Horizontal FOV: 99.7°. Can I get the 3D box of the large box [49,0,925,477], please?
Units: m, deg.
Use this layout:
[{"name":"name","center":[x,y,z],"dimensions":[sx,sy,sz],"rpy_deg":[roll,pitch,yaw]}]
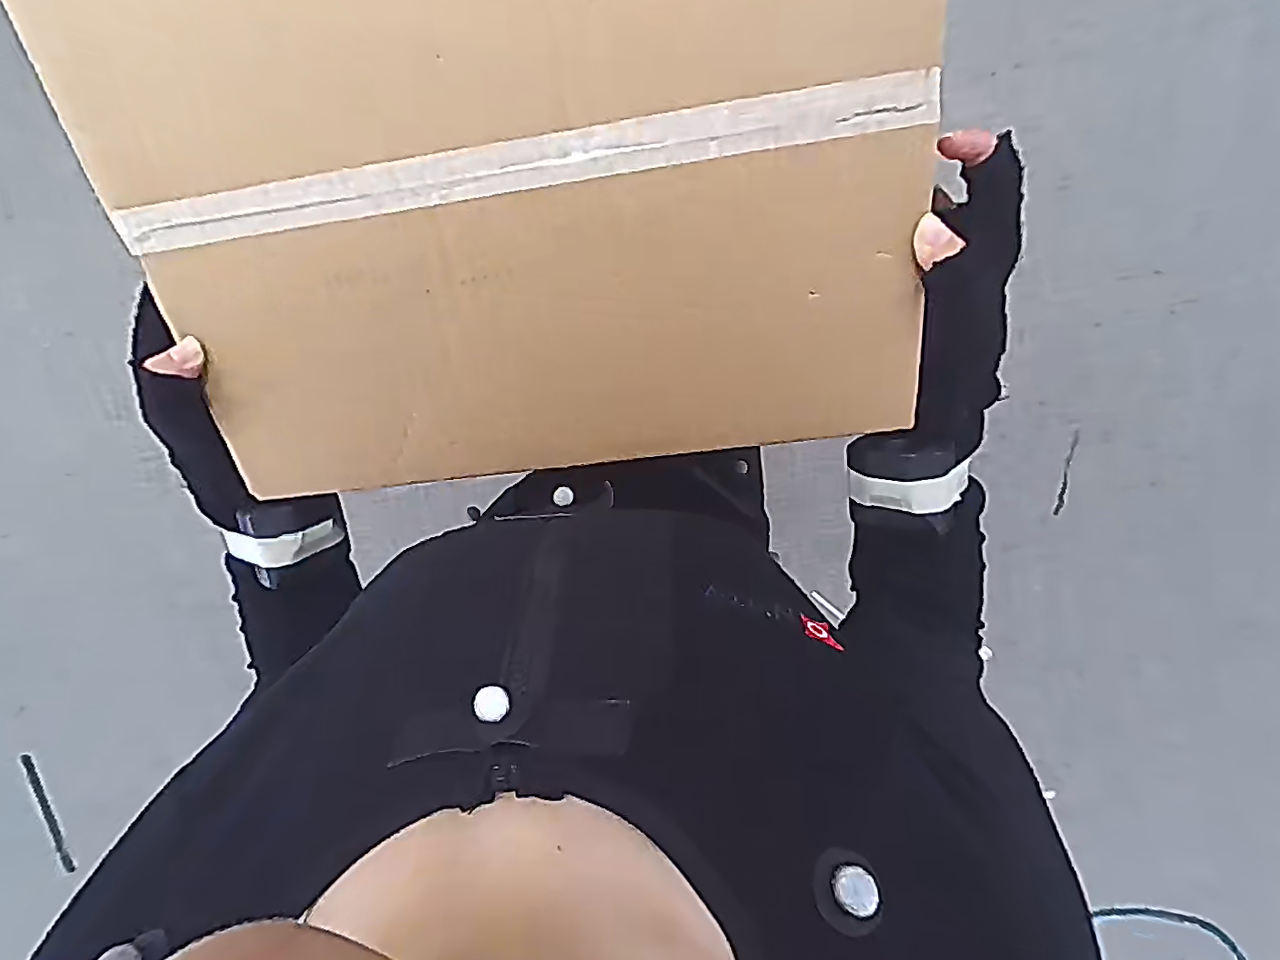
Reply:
[{"name":"large box","center":[-0.062,-0.224,0.405],"dimensions":[0.408,0.320,0.320],"rpy_deg":[-6,115,5]}]
